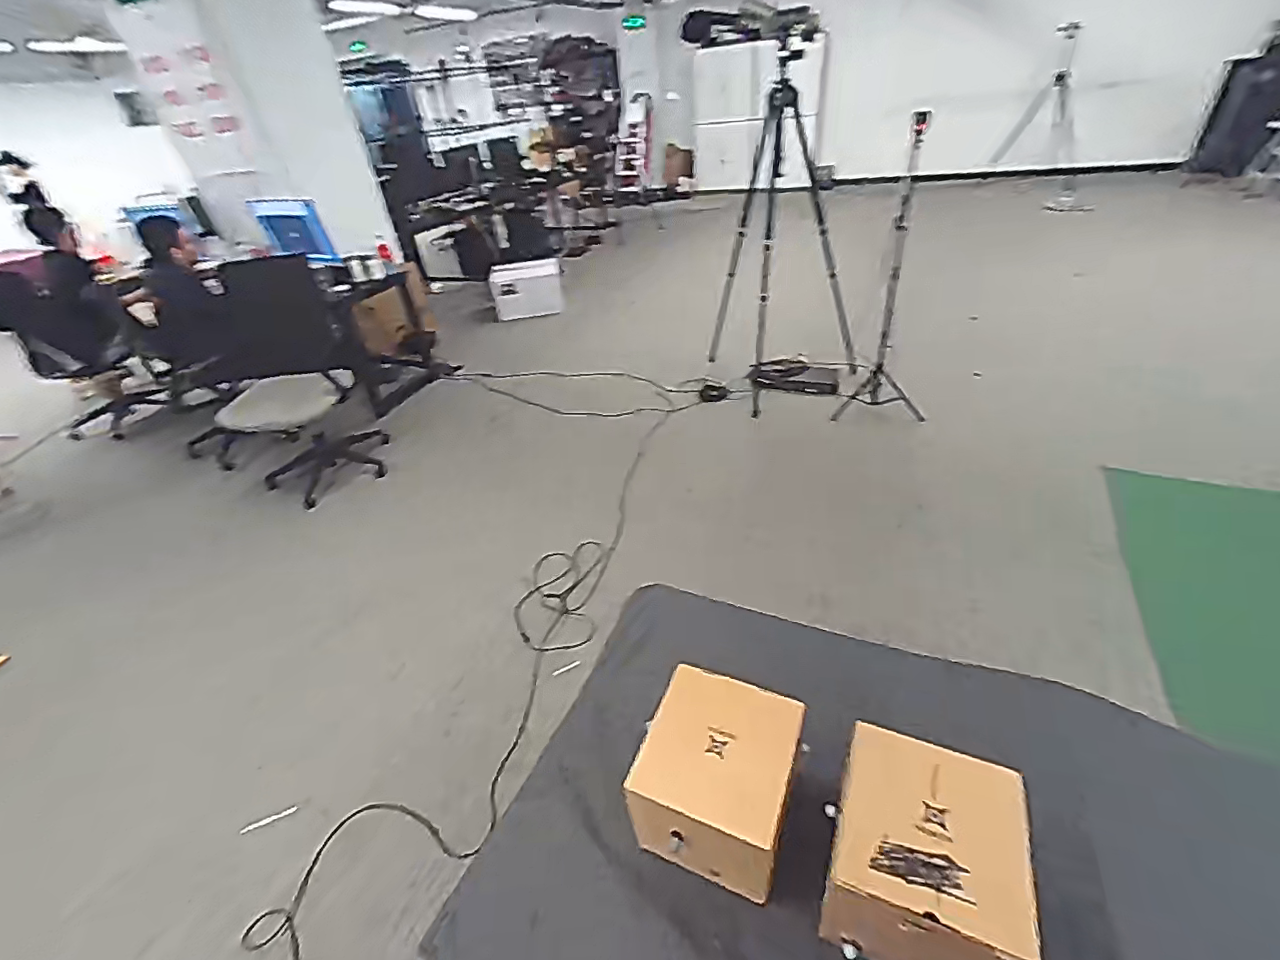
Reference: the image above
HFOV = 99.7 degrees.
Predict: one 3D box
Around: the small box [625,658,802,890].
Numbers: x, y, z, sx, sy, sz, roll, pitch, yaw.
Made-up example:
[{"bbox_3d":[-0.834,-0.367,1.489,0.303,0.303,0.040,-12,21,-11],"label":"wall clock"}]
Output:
[{"bbox_3d":[0.099,0.365,0.678,0.168,0.176,0.179,11,39,23],"label":"small box"}]
